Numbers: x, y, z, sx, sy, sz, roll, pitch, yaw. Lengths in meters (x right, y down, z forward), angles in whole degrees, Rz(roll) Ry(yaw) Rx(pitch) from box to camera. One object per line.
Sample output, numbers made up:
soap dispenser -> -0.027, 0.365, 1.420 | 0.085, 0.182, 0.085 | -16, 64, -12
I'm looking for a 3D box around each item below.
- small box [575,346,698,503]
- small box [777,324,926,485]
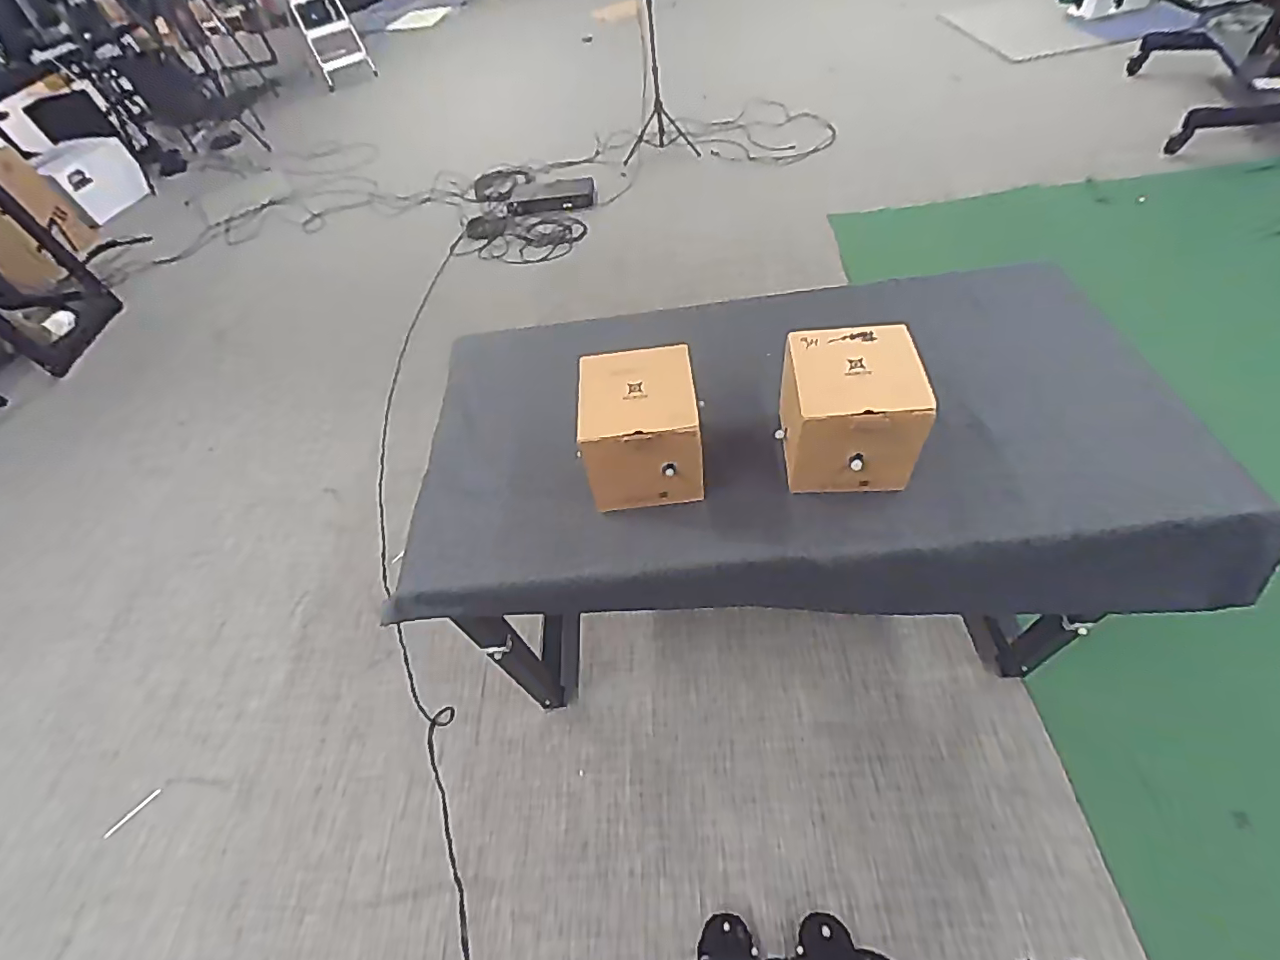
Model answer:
small box -> -0.002, -0.077, 0.835 | 0.168, 0.176, 0.179 | -7, 51, 3
small box -> 0.297, -0.103, 0.802 | 0.168, 0.176, 0.179 | -2, 54, 8
